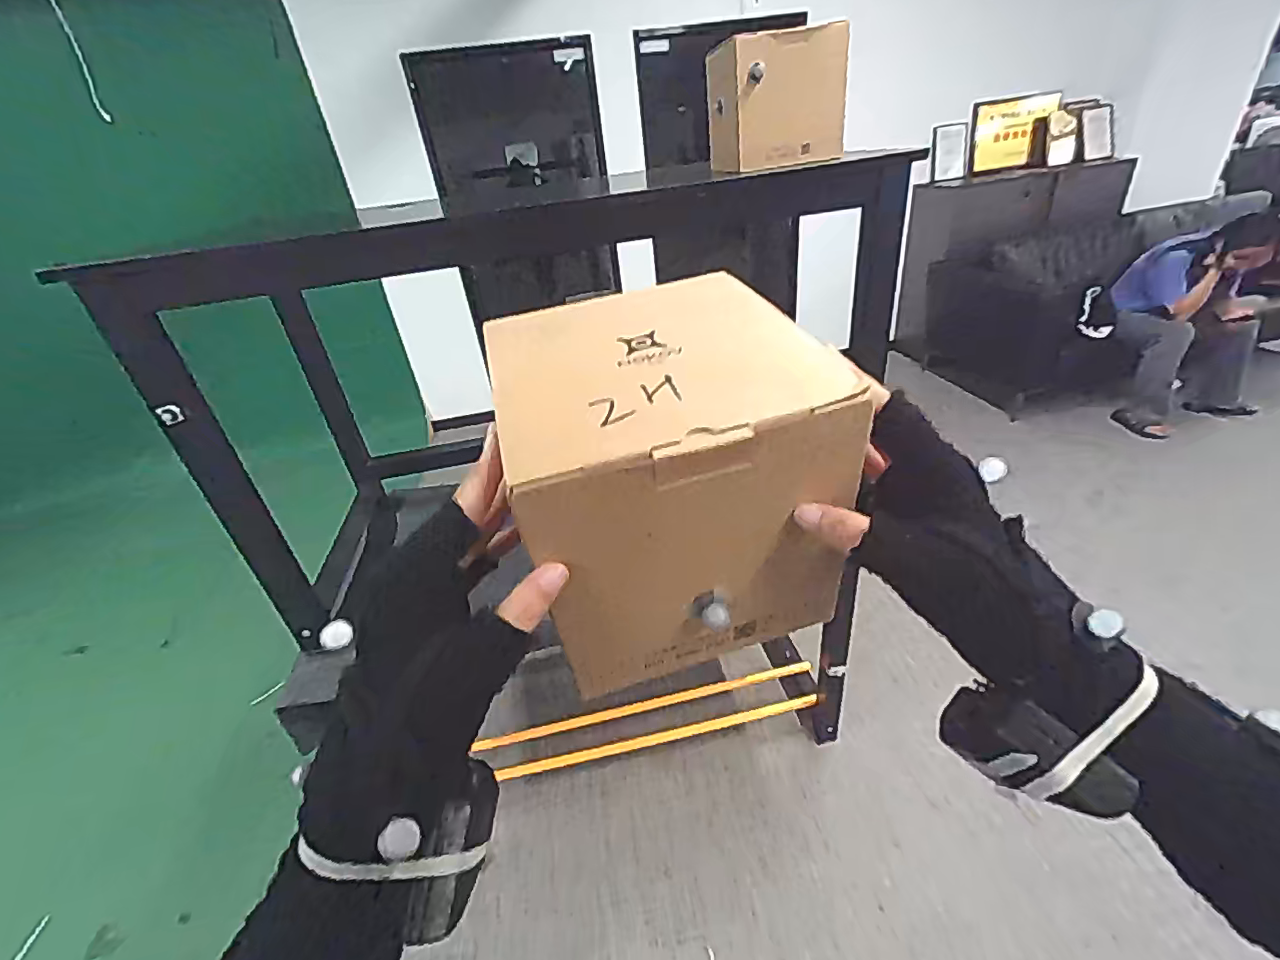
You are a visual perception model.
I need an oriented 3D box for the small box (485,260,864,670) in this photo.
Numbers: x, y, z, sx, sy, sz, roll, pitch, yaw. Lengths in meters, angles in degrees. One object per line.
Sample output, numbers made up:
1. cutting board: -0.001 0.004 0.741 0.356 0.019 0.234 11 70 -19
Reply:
1. small box: 0.009 -0.017 0.340 0.168 0.176 0.179 -15 40 -7
